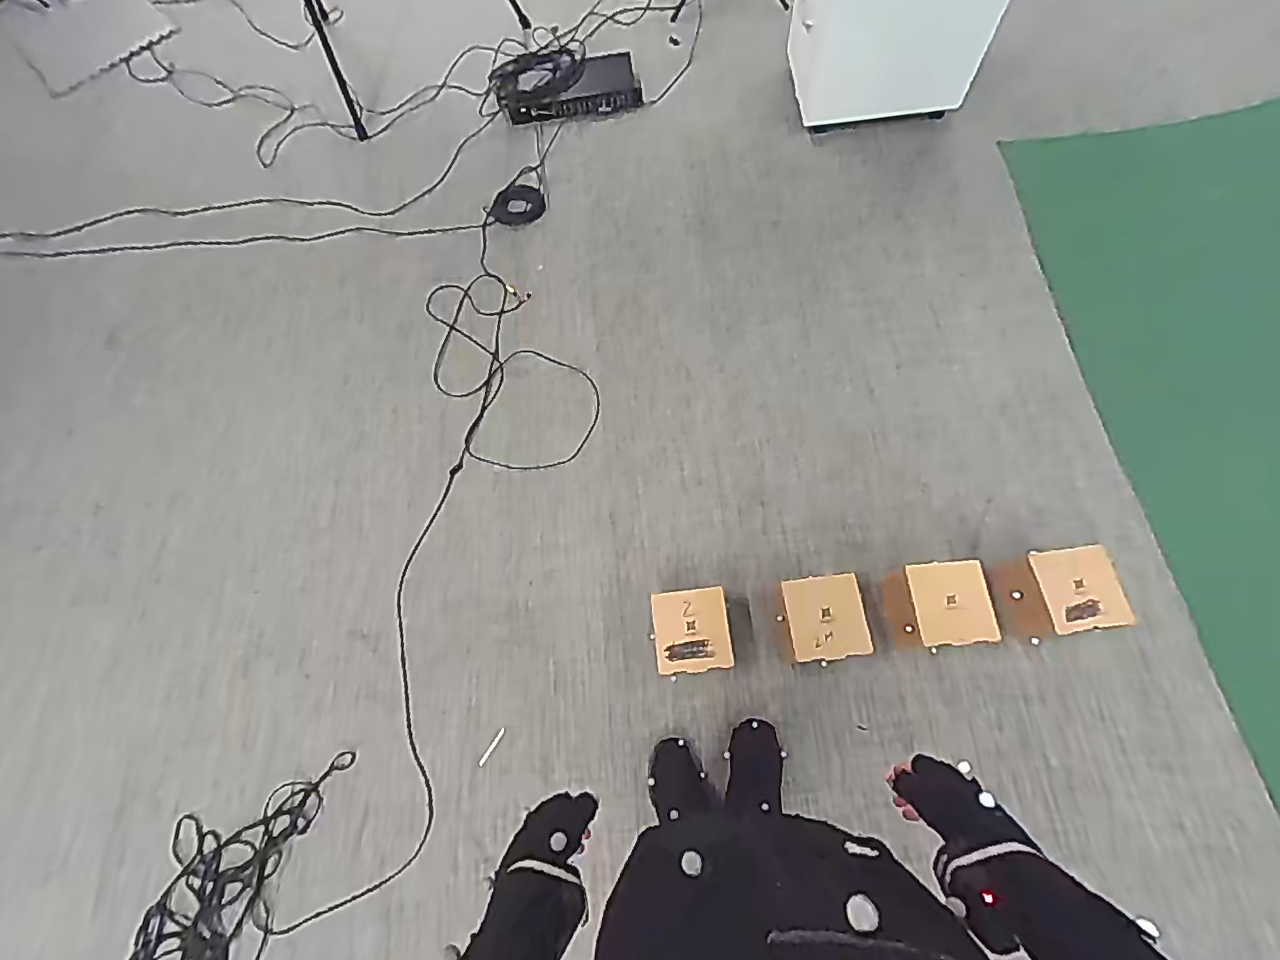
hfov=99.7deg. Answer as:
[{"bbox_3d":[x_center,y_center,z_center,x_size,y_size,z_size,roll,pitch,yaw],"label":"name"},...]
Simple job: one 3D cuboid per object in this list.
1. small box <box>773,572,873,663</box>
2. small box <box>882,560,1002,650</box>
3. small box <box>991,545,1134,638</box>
[{"bbox_3d":[0.410,0.321,1.245,0.168,0.176,0.179,-8,70,3],"label":"small box"},{"bbox_3d":[0.676,0.291,1.238,0.168,0.176,0.179,-5,70,2],"label":"small box"},{"bbox_3d":[0.943,0.259,1.226,0.168,0.176,0.179,-8,69,2],"label":"small box"}]
